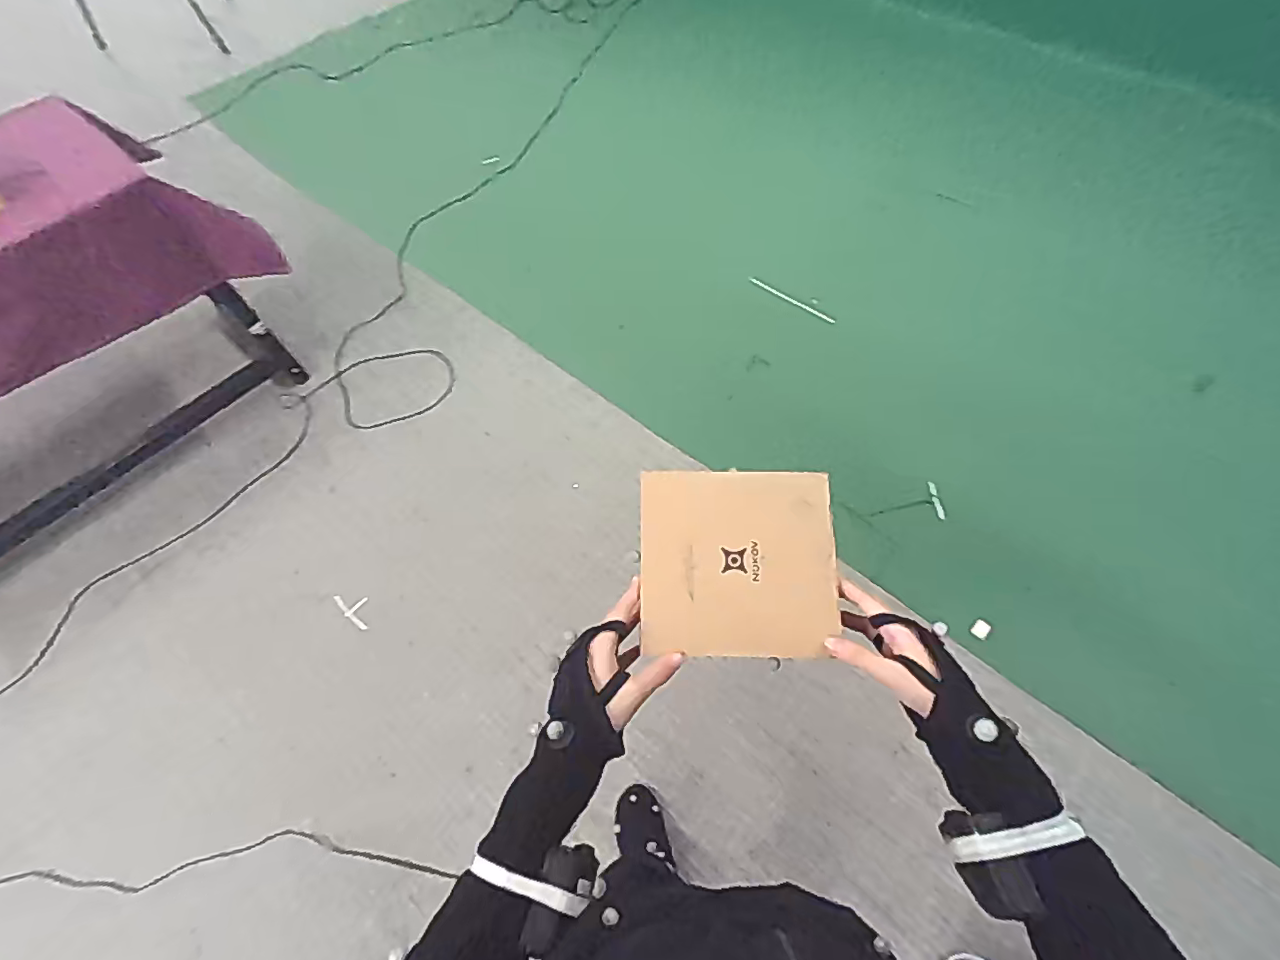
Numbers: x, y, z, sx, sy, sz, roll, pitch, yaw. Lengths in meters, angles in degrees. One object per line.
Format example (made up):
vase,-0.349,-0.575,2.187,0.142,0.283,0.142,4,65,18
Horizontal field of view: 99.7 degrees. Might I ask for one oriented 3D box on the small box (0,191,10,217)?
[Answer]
small box,-1.561,-0.657,1.181,0.179,0.176,0.168,39,69,22
